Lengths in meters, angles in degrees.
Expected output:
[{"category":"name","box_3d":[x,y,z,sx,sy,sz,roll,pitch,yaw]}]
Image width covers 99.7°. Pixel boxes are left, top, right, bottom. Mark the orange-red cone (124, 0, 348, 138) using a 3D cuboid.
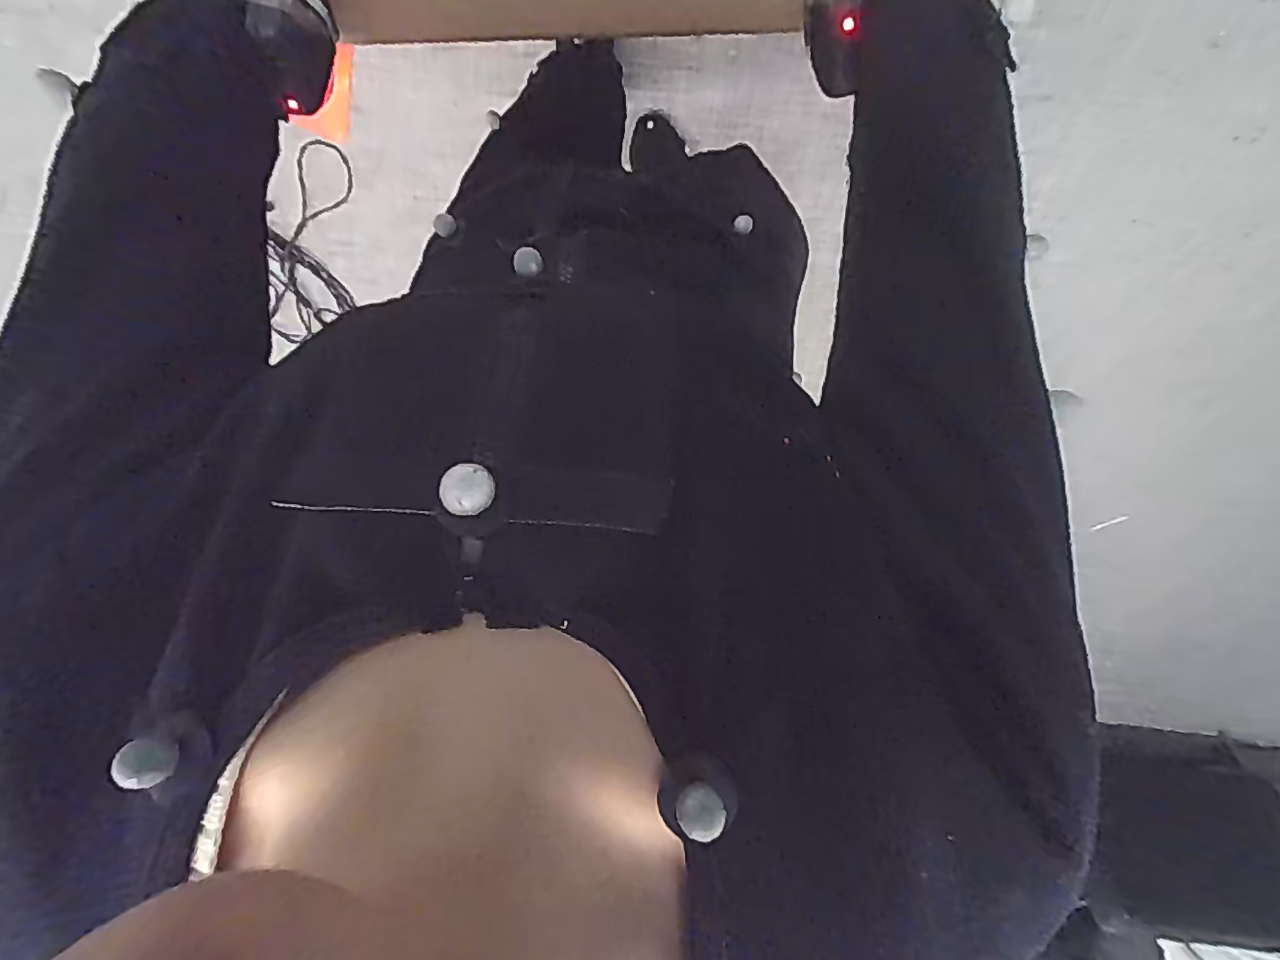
[{"category":"orange-red cone","box_3d":[-0.673,-0.684,0.880,0.199,0.360,0.198,23,125,-10]}]
